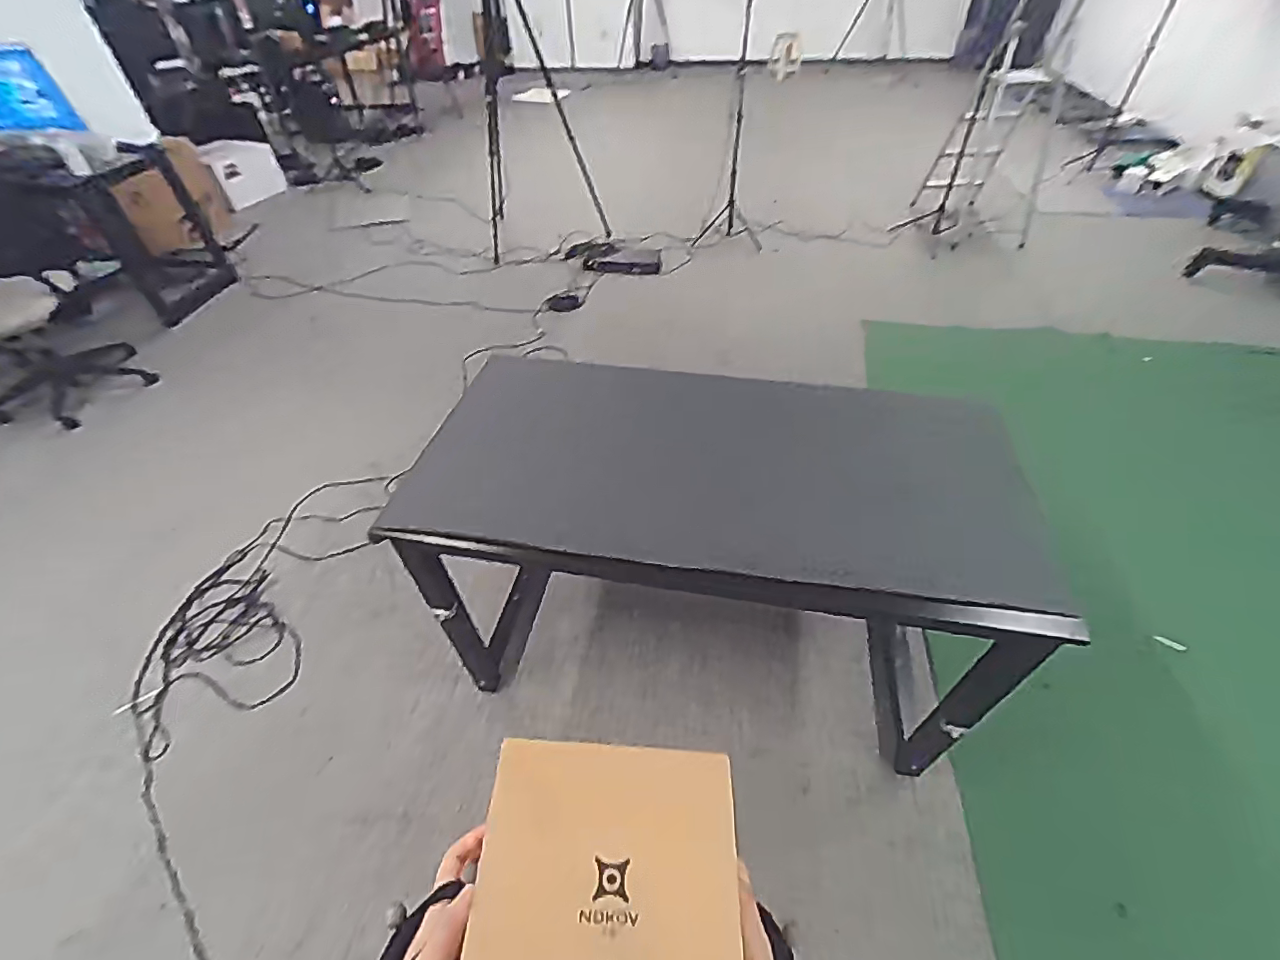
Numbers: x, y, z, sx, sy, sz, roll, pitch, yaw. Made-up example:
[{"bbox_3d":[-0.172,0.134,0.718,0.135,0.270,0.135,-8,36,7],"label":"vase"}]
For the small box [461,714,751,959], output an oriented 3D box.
[{"bbox_3d":[-0.026,0.291,0.388,0.168,0.176,0.179,5,47,-4],"label":"small box"}]
